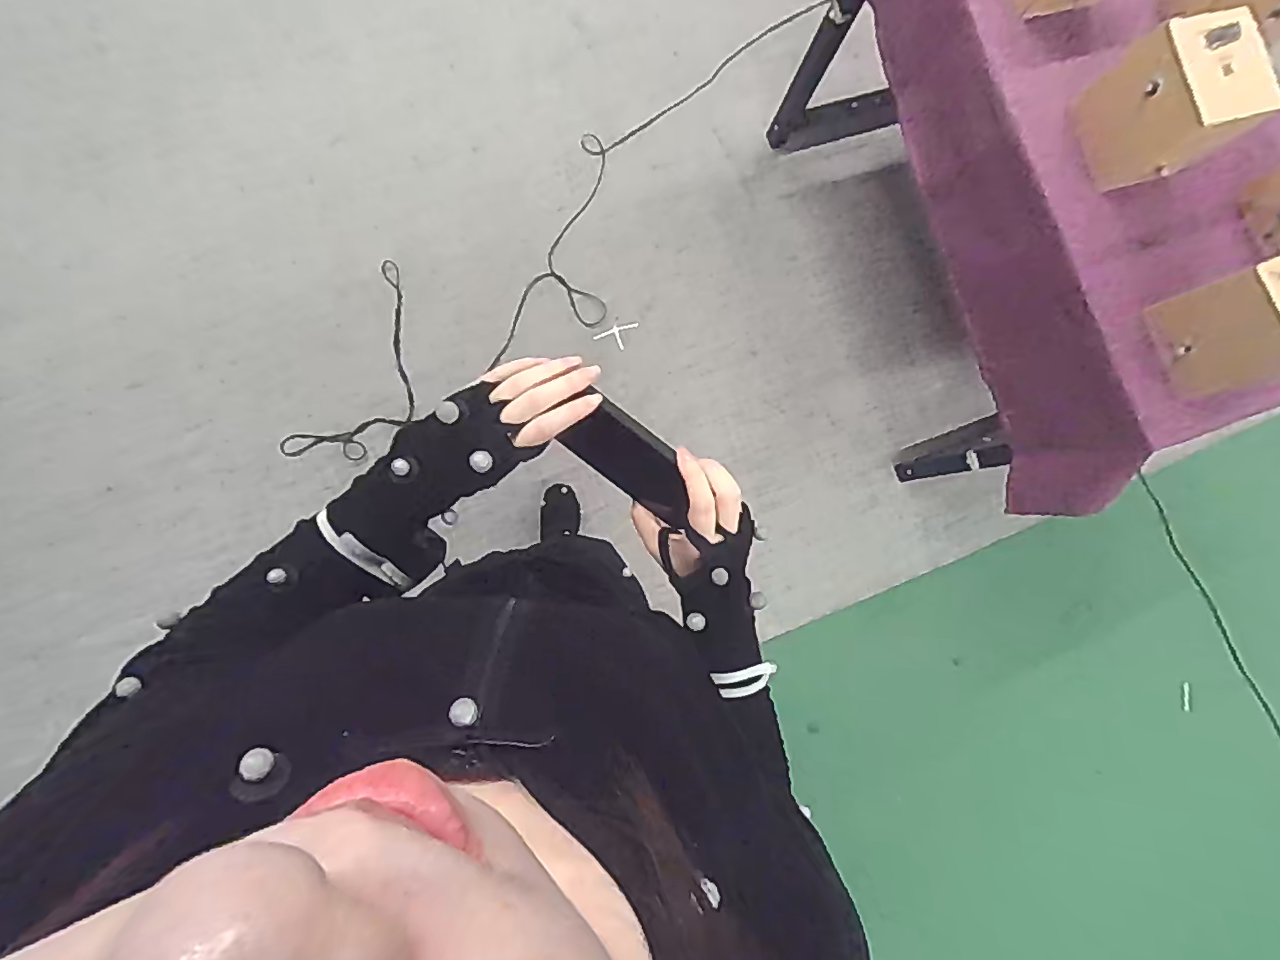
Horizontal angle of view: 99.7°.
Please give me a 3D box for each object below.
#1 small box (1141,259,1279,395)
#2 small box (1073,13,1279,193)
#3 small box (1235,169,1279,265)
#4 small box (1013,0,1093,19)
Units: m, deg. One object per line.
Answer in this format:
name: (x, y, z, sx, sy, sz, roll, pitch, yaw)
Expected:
small box: (0.997, -0.251, 0.890, 0.168, 0.176, 0.179, -20, 88, -10)
small box: (0.886, -0.624, 0.911, 0.168, 0.176, 0.179, -16, 88, -9)
small box: (1.228, -0.502, 0.947, 0.179, 0.176, 0.168, -22, 88, -9)
small box: (0.753, -0.951, 0.924, 0.168, 0.176, 0.179, -18, 88, -10)
